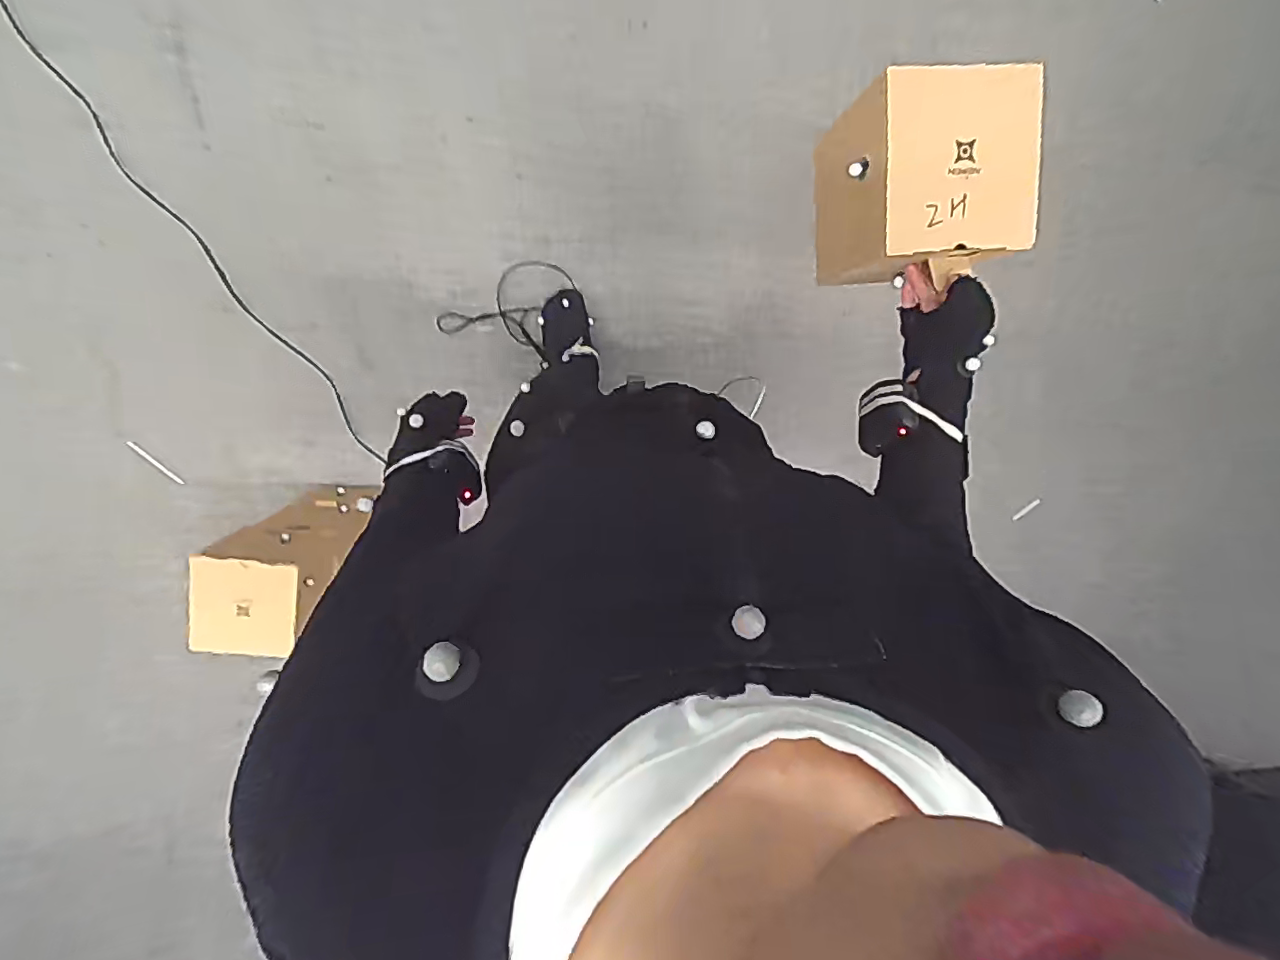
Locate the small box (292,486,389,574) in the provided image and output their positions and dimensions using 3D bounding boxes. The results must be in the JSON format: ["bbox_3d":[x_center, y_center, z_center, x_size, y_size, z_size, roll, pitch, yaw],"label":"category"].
[{"bbox_3d":[-0.724,0.117,1.321,0.168,0.176,0.179,3,102,-10],"label":"small box"}]

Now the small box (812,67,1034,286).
[{"bbox_3d":[0.310,-0.335,0.626,0.168,0.176,0.179,-5,100,-5],"label":"small box"}]

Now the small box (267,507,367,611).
[{"bbox_3d":[-0.702,0.164,1.164,0.168,0.176,0.179,3,104,-9],"label":"small box"}]

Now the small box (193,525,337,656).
[{"bbox_3d":[-0.686,0.200,1.007,0.168,0.176,0.179,8,102,-10],"label":"small box"}]
